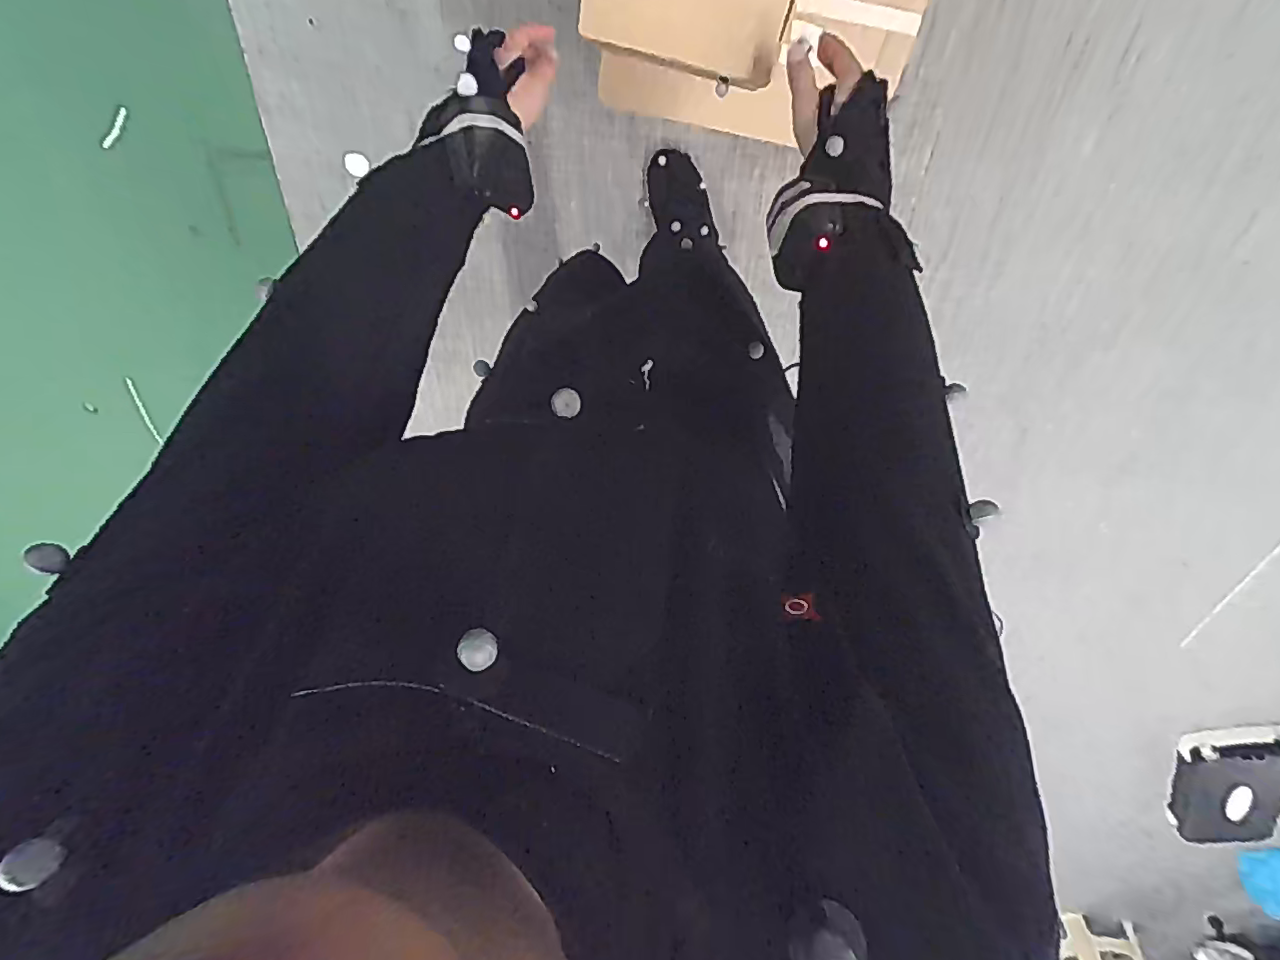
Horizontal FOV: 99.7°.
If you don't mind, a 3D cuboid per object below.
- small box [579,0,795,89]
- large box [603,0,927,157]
[{"bbox_3d":[0.055,-0.473,0.491,0.179,0.176,0.168,13,125,-3],"label":"small box"},{"bbox_3d":[0.174,-0.707,0.808,0.408,0.320,0.320,11,127,-2],"label":"large box"}]
